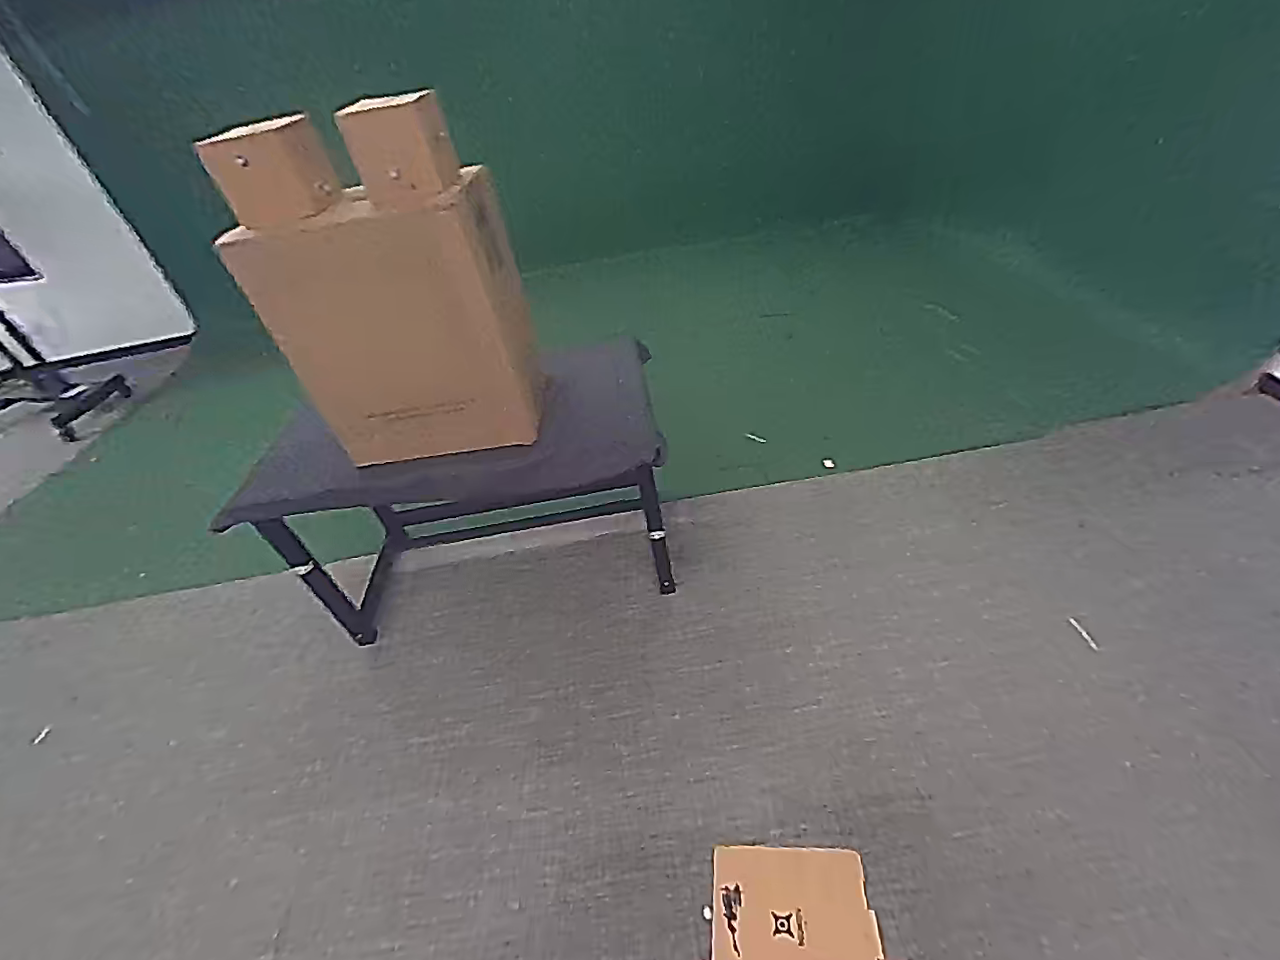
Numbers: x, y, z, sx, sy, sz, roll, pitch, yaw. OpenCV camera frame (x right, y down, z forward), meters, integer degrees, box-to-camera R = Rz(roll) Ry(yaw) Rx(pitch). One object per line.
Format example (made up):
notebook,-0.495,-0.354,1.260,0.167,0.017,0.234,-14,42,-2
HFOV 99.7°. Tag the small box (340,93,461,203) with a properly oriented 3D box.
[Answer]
small box,-0.508,-0.722,1.180,0.168,0.176,0.179,-6,43,4

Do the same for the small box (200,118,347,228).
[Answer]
small box,-0.792,-0.673,1.192,0.179,0.176,0.168,-6,43,4

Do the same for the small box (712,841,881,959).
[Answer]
small box,0.182,0.560,0.634,0.179,0.176,0.168,-6,27,12
